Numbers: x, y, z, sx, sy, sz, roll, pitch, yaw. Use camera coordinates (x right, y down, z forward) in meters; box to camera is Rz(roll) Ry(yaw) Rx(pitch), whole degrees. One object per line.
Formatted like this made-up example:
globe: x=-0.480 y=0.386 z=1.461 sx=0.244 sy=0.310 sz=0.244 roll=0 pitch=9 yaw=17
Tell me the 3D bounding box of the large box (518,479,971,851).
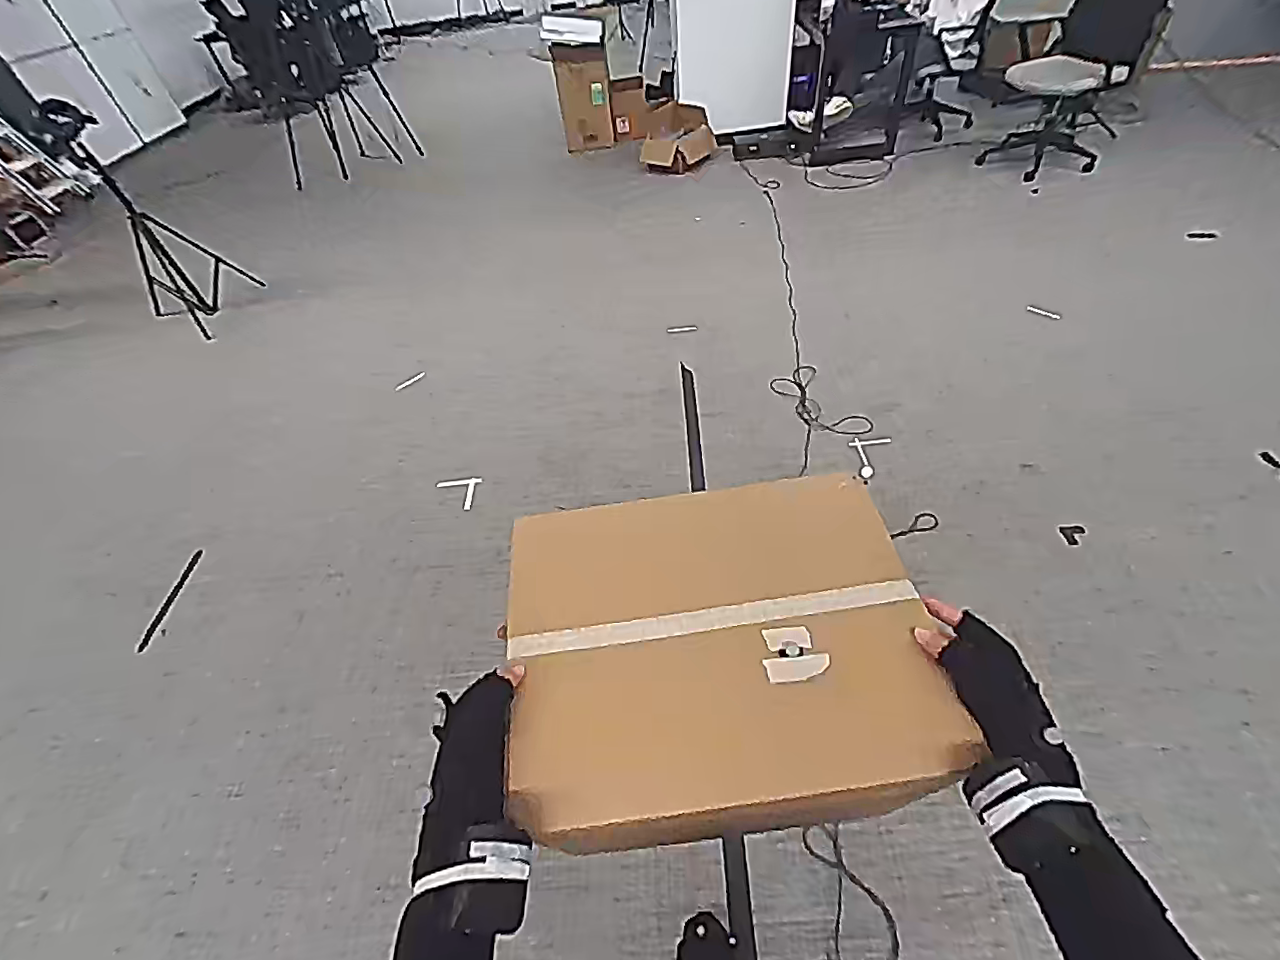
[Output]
large box: x=0.083 y=0.236 z=0.668 sx=0.408 sy=0.320 sz=0.320 roll=-8 pitch=53 yaw=0
